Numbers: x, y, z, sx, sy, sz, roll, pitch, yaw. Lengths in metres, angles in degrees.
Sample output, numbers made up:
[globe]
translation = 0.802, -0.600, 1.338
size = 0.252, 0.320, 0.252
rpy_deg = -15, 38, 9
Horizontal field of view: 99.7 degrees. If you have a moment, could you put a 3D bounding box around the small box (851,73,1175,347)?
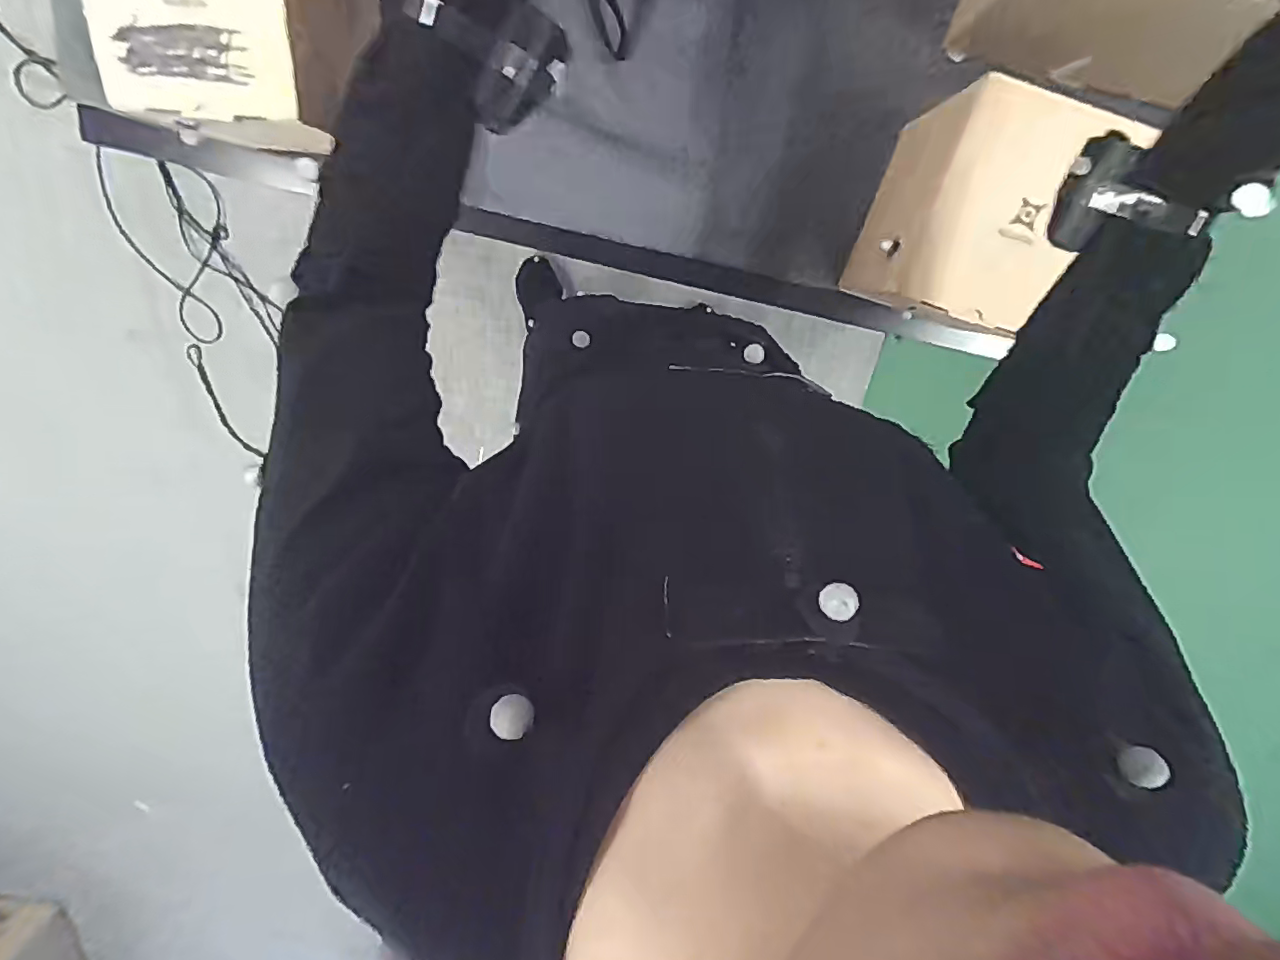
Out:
[small box]
translation = 0.335, -0.252, 0.536
size = 0.168, 0.176, 0.179
rpy_deg = 17, 113, -3
